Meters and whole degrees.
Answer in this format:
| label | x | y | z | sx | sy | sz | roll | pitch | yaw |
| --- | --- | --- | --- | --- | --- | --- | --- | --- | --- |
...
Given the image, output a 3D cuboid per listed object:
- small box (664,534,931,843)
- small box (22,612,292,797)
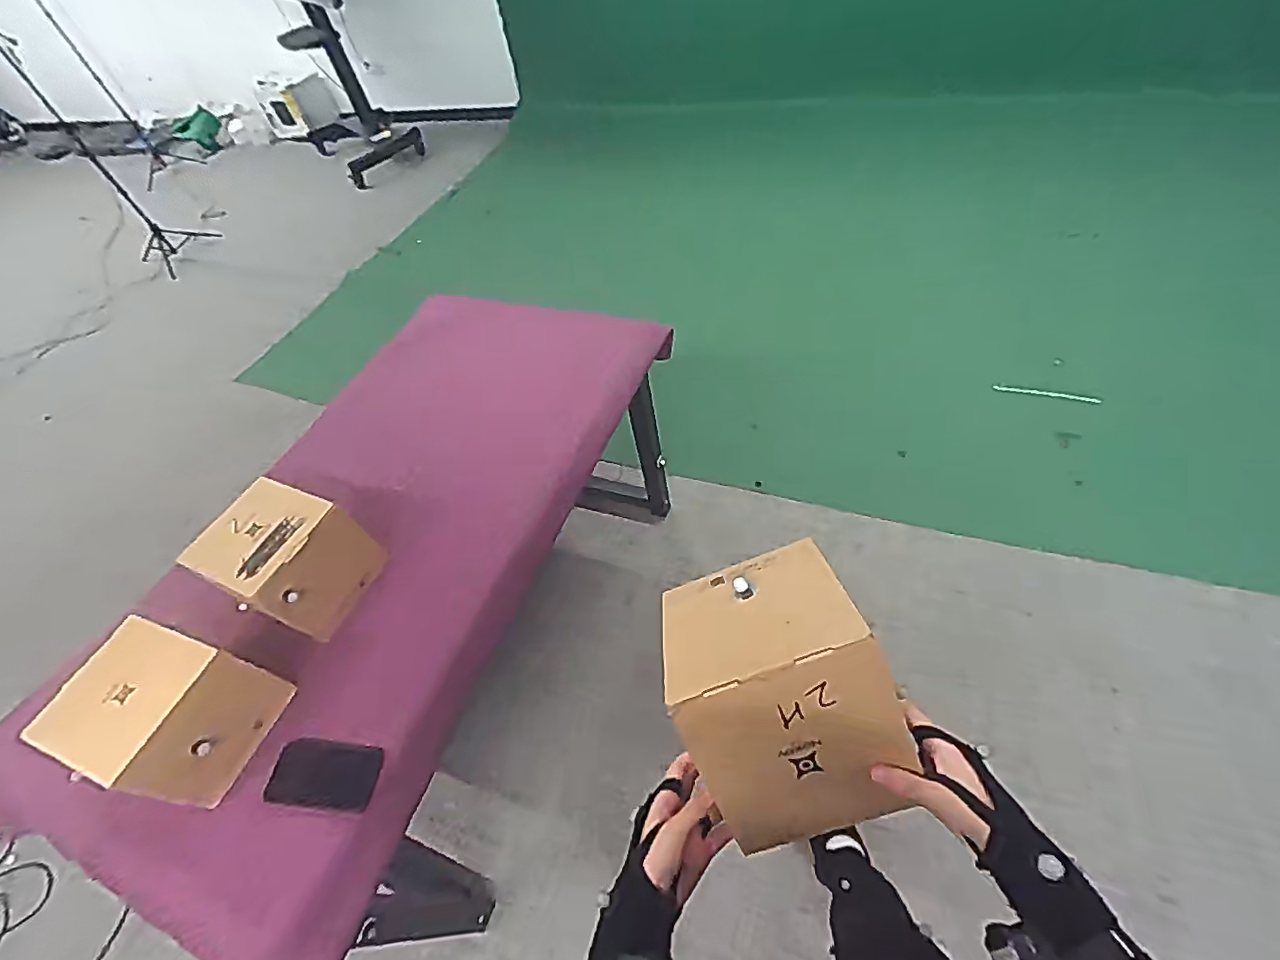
| label | x | y | z | sx | sy | sz | roll | pitch | yaw |
| --- | --- | --- | --- | --- | --- | --- | --- | --- | --- |
| small box | 0.130 | 0.179 | 0.499 | 0.168 | 0.179 | 0.176 | -23 | 16 | 8 |
| small box | -0.625 | 0.305 | 0.727 | 0.179 | 0.176 | 0.168 | 11 | 55 | 19 |
